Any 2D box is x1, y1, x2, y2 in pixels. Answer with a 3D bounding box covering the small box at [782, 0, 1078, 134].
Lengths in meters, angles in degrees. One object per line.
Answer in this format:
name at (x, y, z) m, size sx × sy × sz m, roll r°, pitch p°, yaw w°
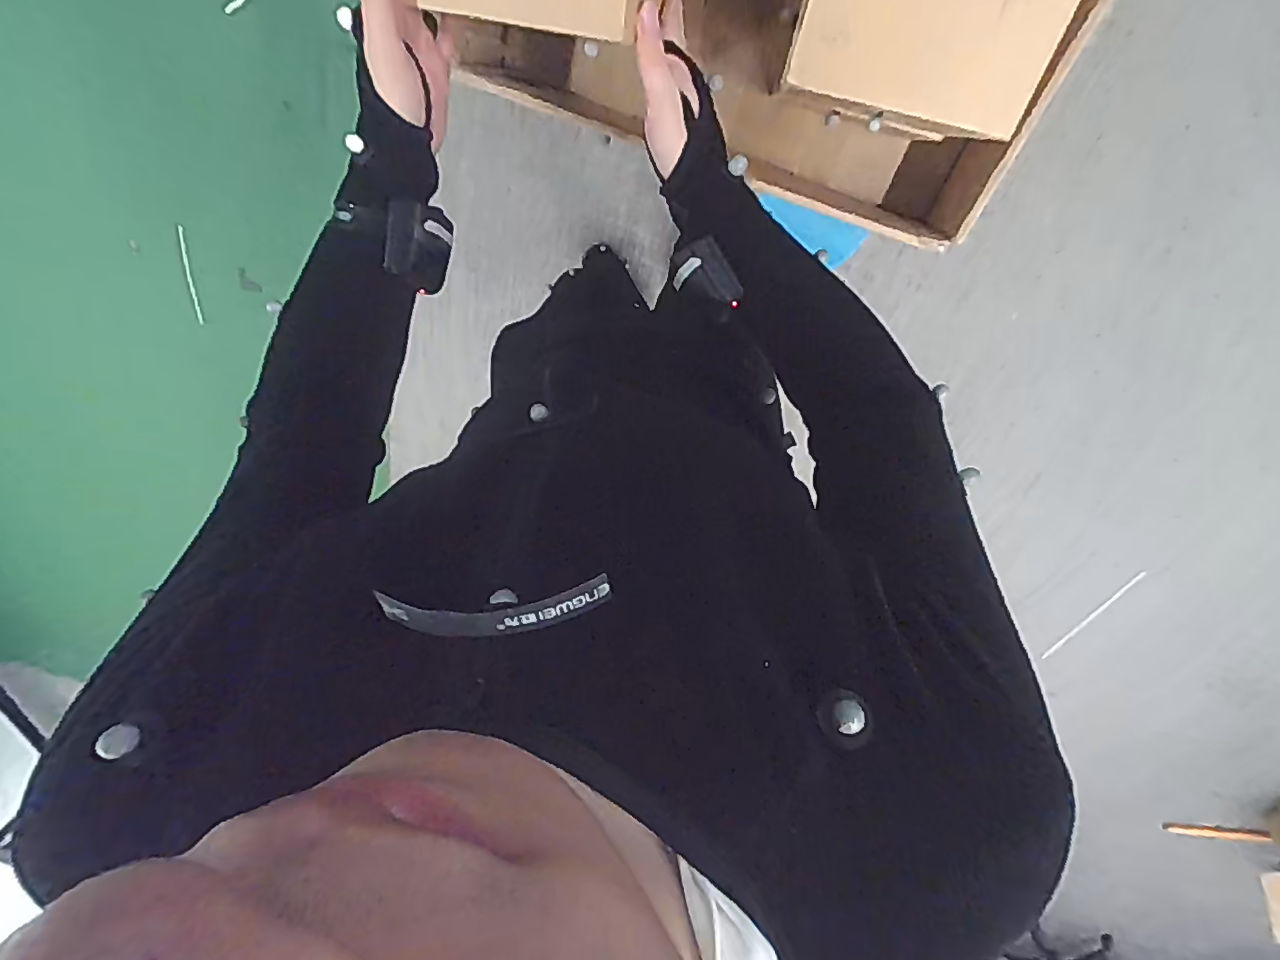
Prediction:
small box at (0.221, -0.384, 0.419) m, size 0.179 × 0.176 × 0.168 m, roll 16°, pitch 126°, yaw 2°
